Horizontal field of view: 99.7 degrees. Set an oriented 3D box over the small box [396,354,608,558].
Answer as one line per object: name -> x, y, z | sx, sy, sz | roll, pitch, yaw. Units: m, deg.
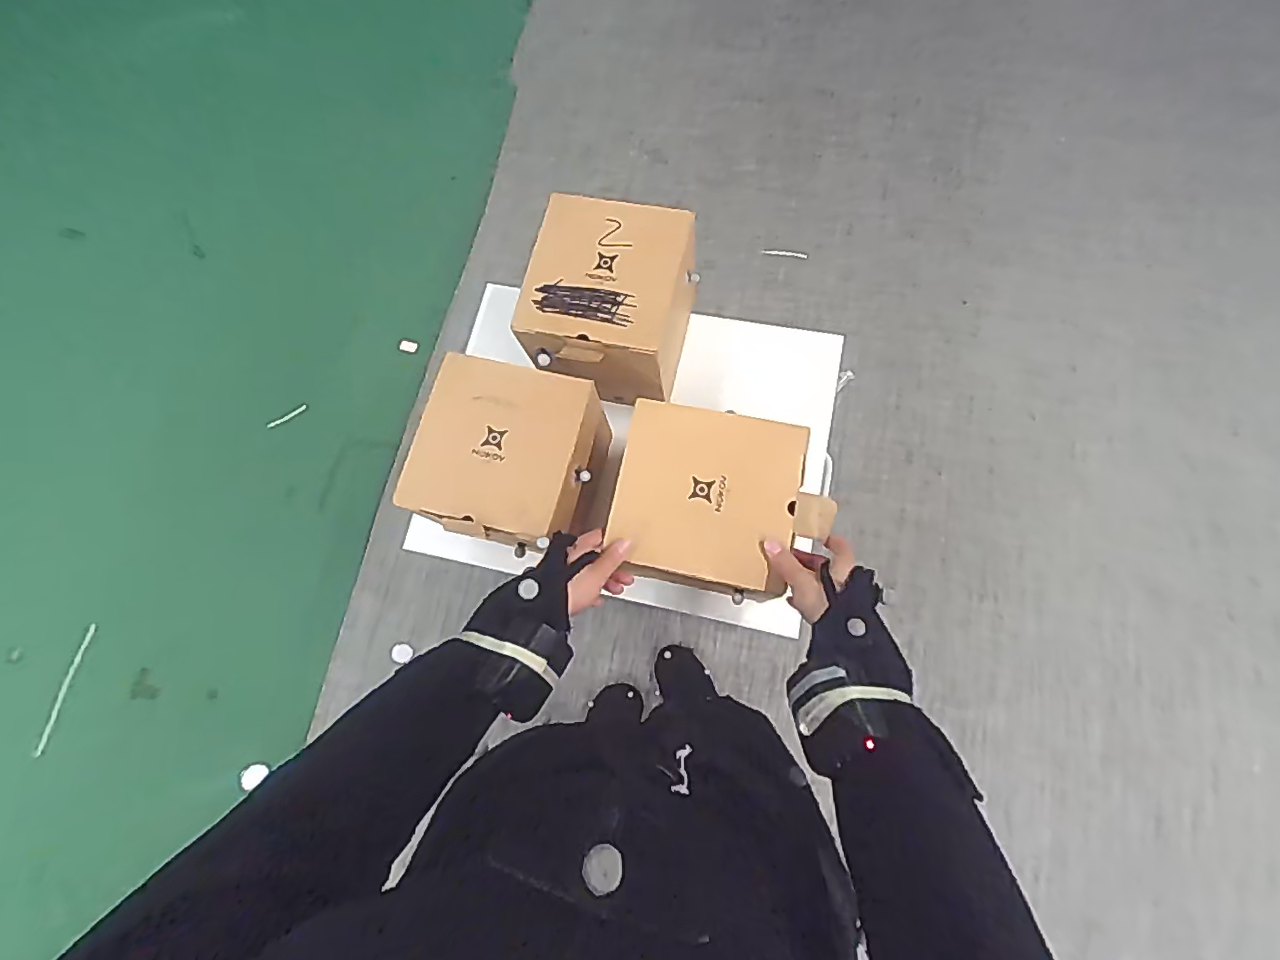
small box -> -0.141, -0.016, 0.626 | 0.168, 0.176, 0.179 | 12, 75, 7
